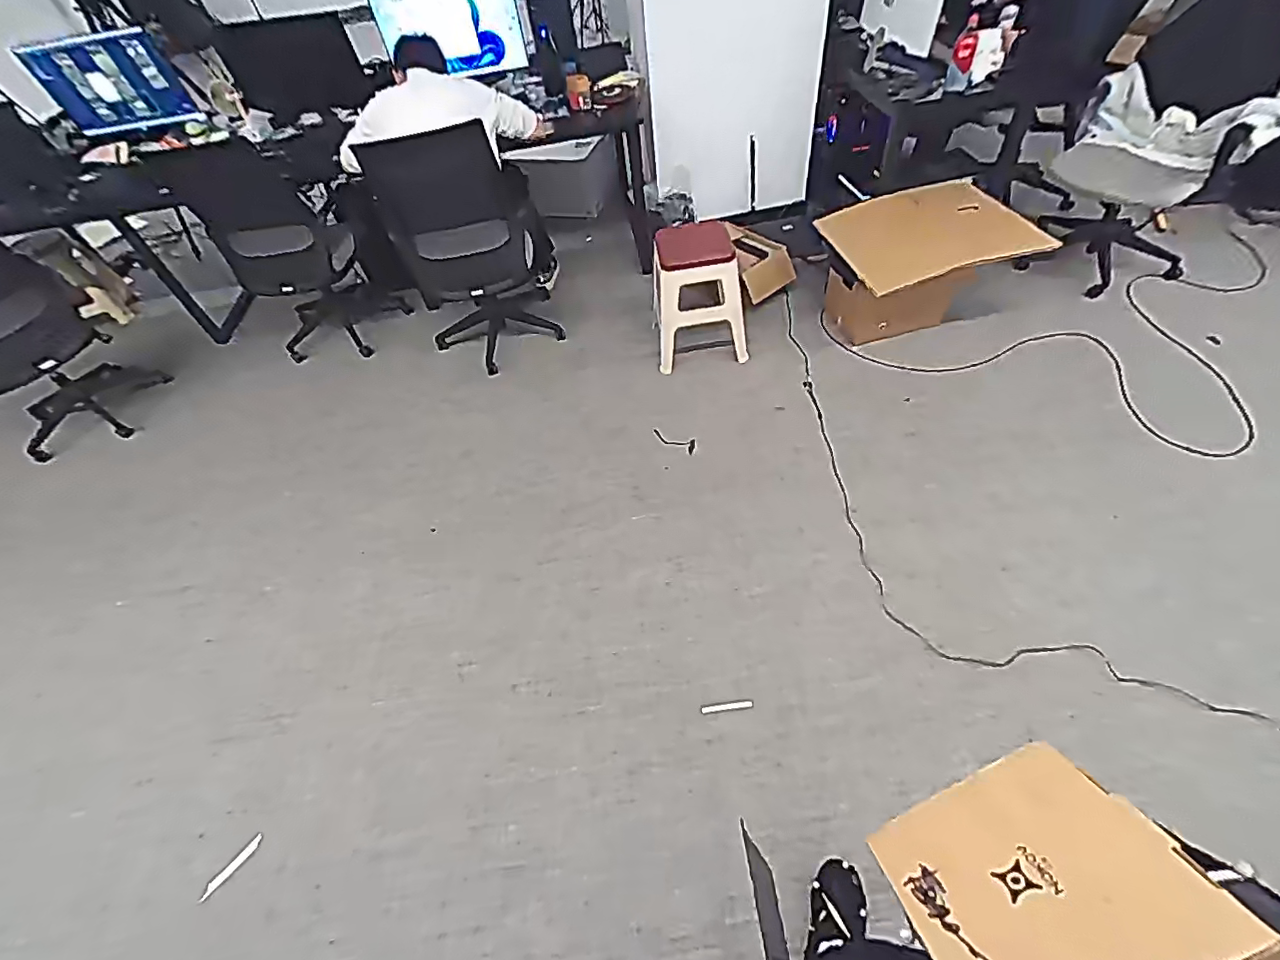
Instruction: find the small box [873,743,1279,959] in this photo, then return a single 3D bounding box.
[{"bbox_3d":[0.320,0.351,0.408,0.179,0.176,0.168,-29,12,2],"label":"small box"}]
